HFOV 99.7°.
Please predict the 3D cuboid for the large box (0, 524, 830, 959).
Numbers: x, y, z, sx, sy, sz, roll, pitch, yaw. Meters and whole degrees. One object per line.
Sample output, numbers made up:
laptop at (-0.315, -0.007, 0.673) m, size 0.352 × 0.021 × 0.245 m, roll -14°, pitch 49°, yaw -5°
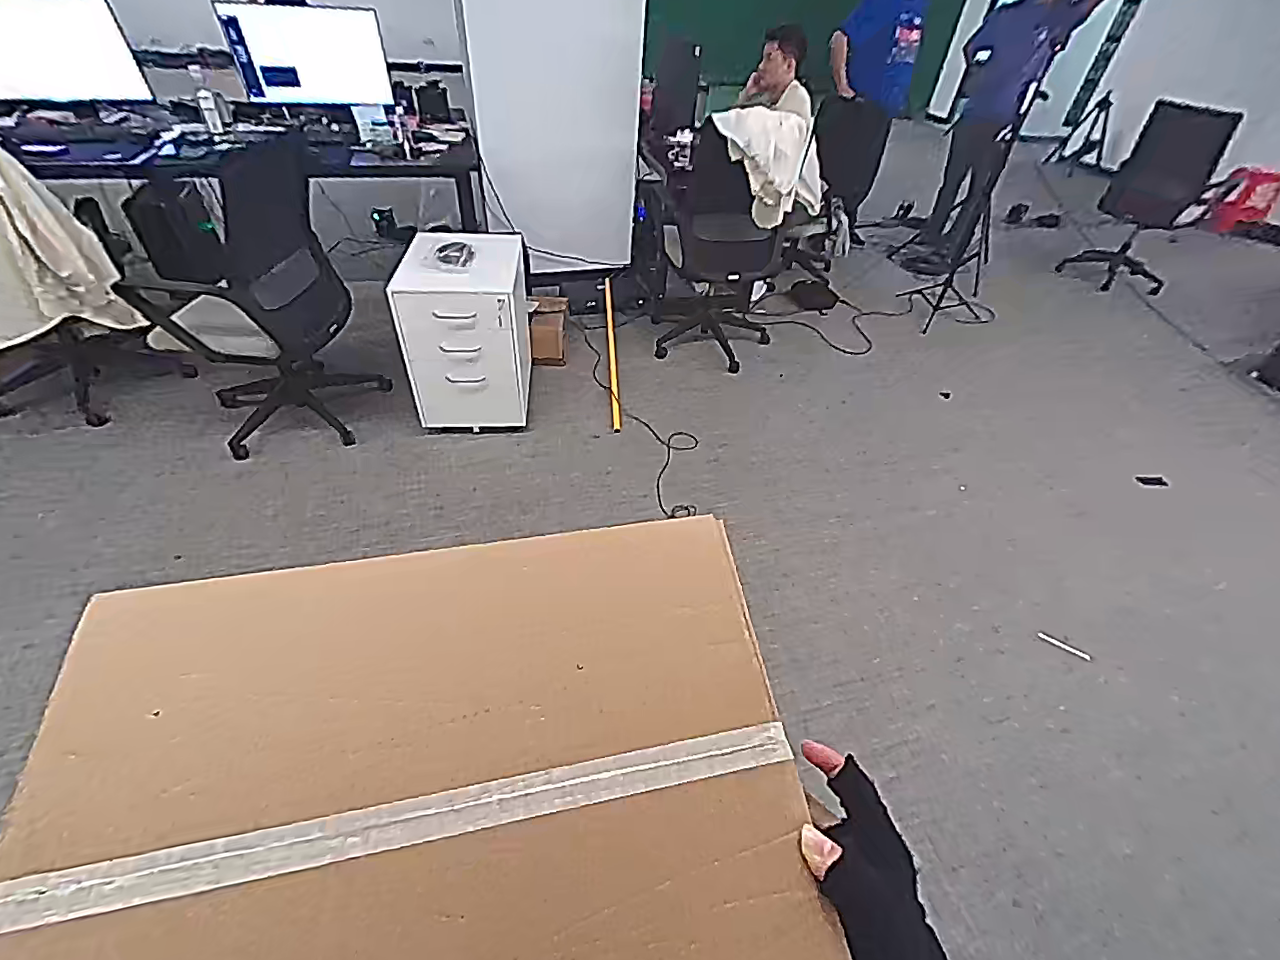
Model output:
large box at (-0.126, 0.263, 0.426) m, size 0.408 × 0.320 × 0.320 m, roll -6°, pitch 58°, yaw -9°
